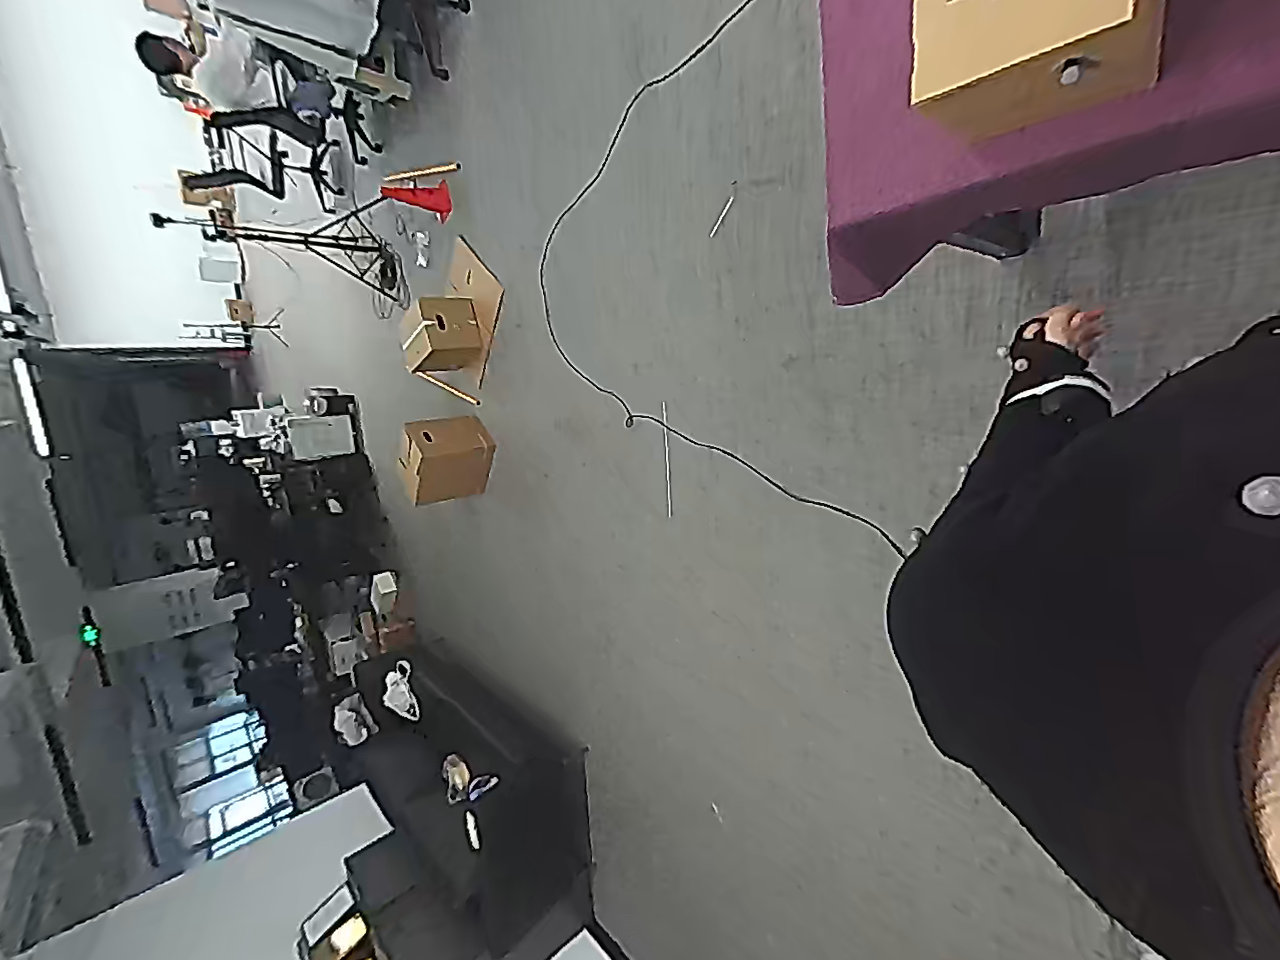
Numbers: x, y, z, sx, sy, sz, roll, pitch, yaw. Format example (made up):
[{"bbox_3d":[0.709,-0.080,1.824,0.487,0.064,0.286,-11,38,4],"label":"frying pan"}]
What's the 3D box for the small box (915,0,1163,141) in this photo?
[{"bbox_3d":[0.403,-0.474,0.543,0.179,0.176,0.168,9,106,48],"label":"small box"}]
